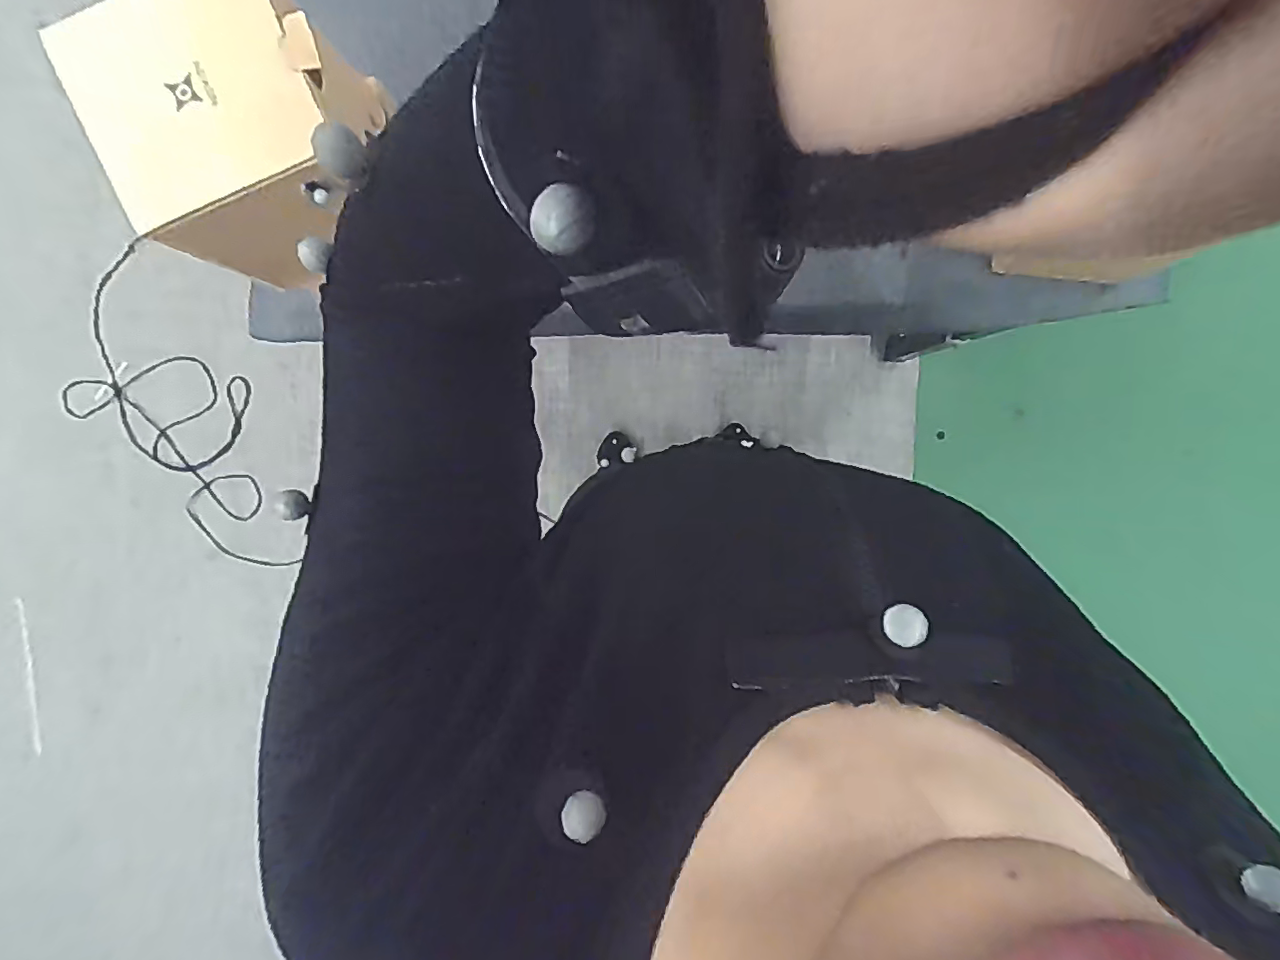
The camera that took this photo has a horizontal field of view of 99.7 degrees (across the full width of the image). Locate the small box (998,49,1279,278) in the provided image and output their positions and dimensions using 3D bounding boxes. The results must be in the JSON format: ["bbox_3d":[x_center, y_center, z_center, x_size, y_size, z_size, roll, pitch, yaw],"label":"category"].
[{"bbox_3d":[0.556,-0.348,0.627,0.179,0.176,0.168,6,91,1],"label":"small box"}]

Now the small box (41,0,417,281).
[{"bbox_3d":[-0.341,-0.305,0.488,0.179,0.176,0.168,-23,95,2],"label":"small box"}]
